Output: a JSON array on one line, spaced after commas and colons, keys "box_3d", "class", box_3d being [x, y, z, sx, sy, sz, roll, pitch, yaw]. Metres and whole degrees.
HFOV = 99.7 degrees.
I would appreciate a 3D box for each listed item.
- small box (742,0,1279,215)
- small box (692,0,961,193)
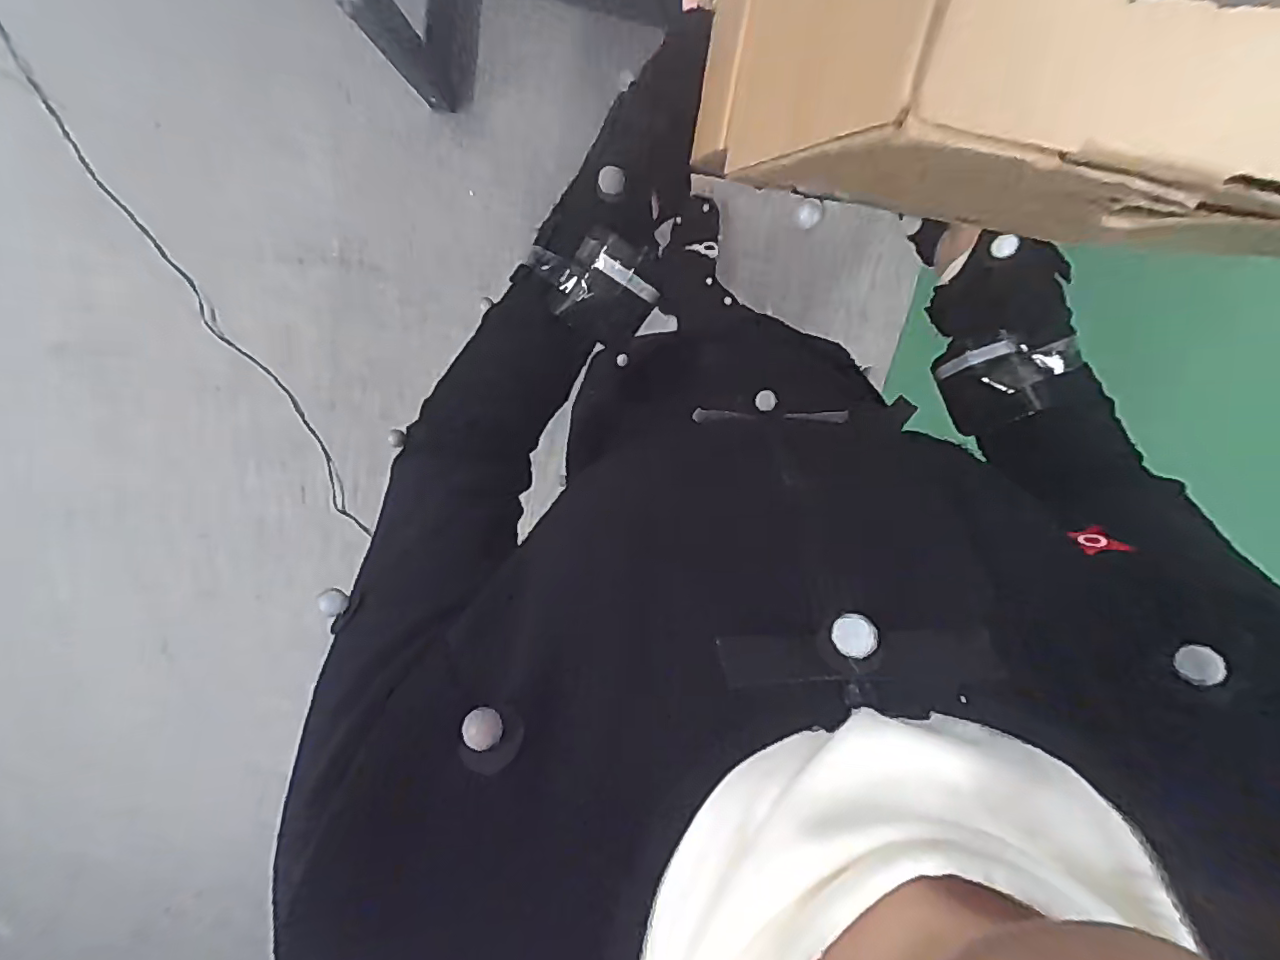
[{"box_3d": [0.133, -0.173, 0.135, 0.168, 0.176, 0.179, 7, 116, -6], "class": "small box"}, {"box_3d": [0.131, -0.241, 0.267, 0.179, 0.176, 0.168, 3, 118, -5], "class": "small box"}]
